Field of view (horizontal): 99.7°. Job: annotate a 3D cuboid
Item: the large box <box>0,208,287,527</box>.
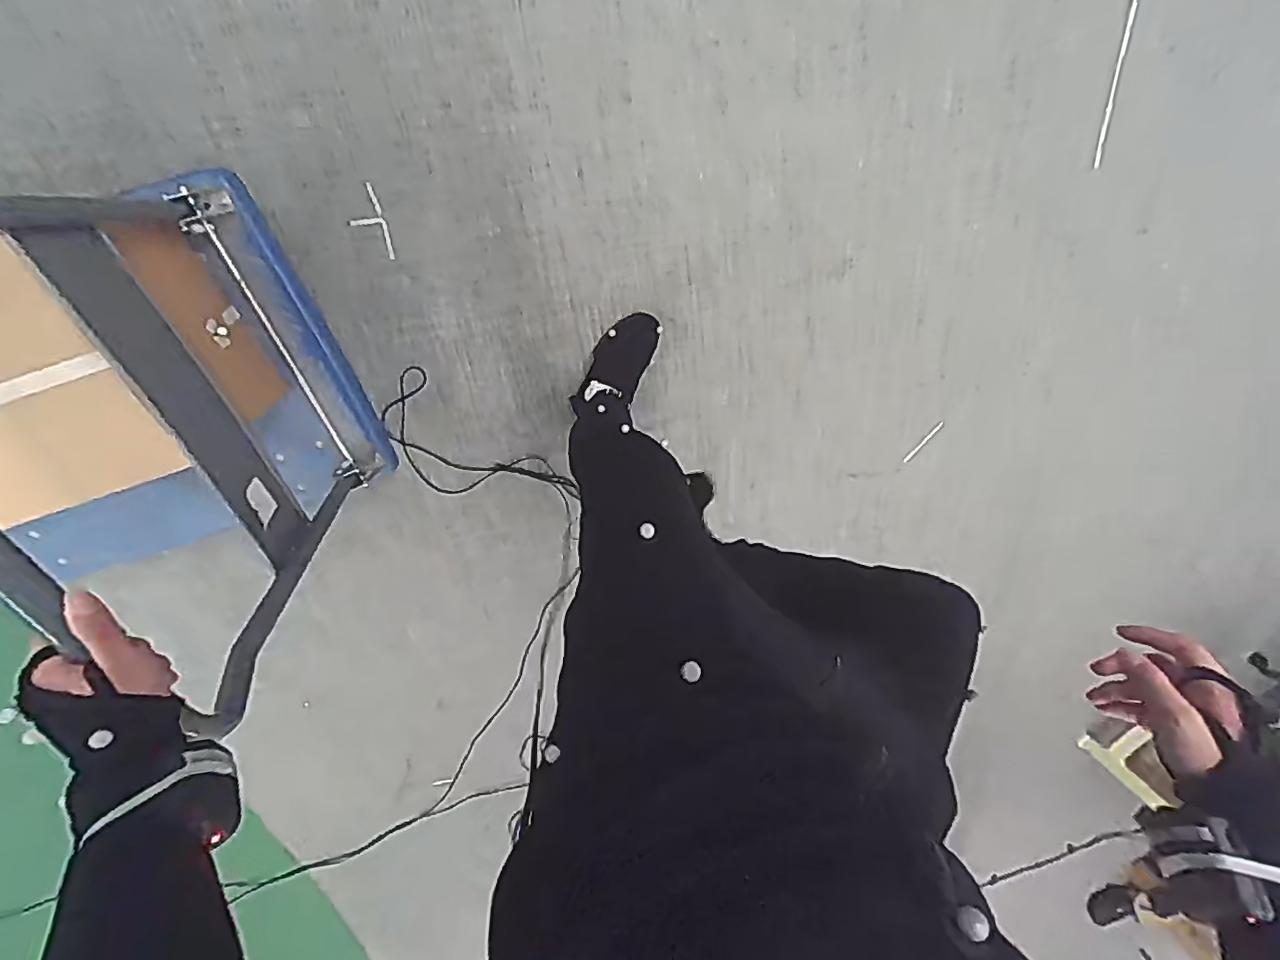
[{"bbox_3d":[-0.847,-0.166,0.791,0.408,0.320,0.320,-18,120,1],"label":"large box"}]
